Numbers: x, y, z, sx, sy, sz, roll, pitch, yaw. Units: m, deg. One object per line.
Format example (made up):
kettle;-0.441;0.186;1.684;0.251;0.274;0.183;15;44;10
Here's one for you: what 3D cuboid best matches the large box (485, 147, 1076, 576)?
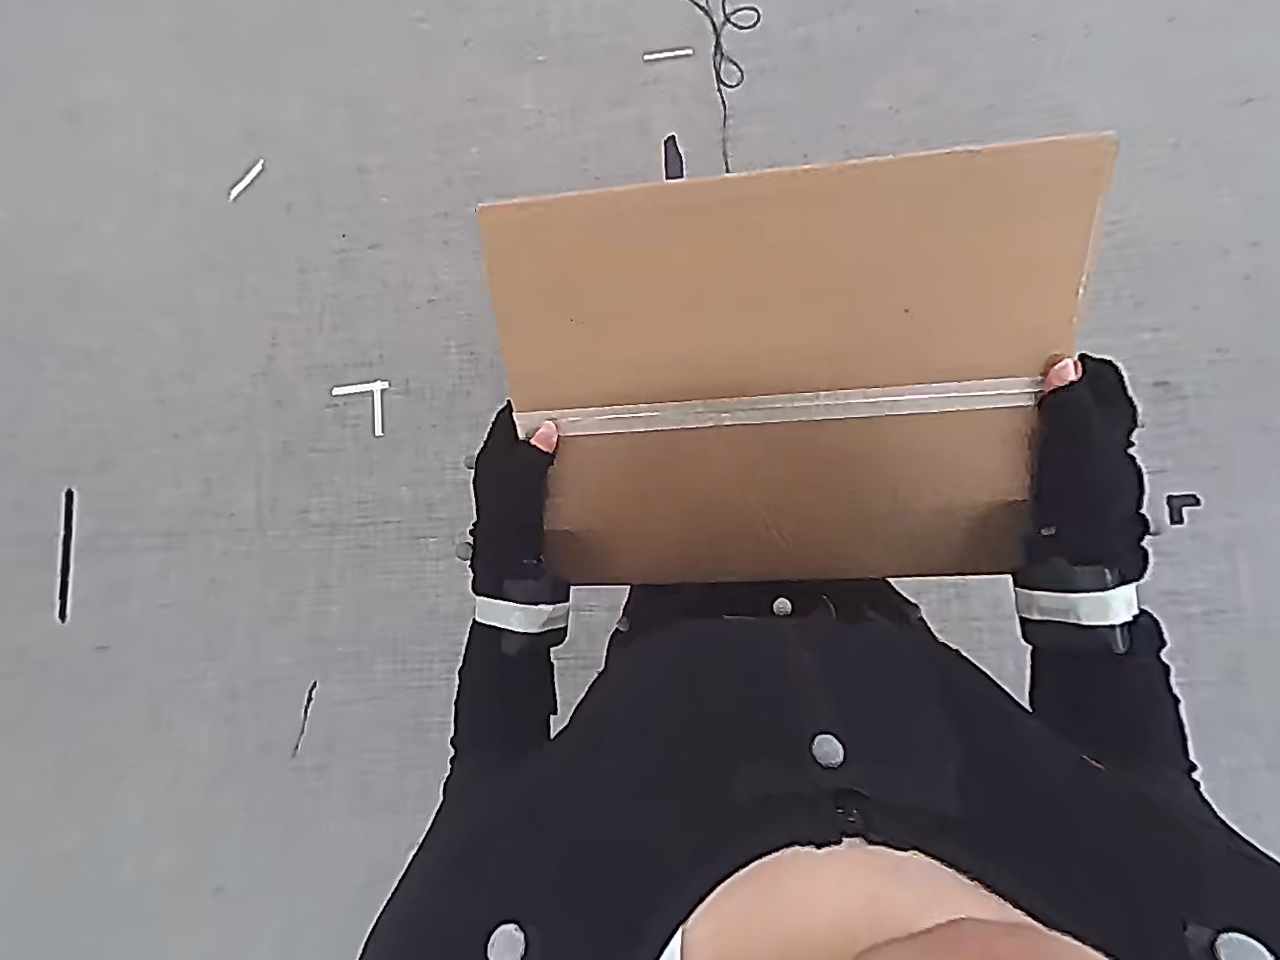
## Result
large box;0.112;-0.122;0.560;0.408;0.320;0.320;-3;113;7
